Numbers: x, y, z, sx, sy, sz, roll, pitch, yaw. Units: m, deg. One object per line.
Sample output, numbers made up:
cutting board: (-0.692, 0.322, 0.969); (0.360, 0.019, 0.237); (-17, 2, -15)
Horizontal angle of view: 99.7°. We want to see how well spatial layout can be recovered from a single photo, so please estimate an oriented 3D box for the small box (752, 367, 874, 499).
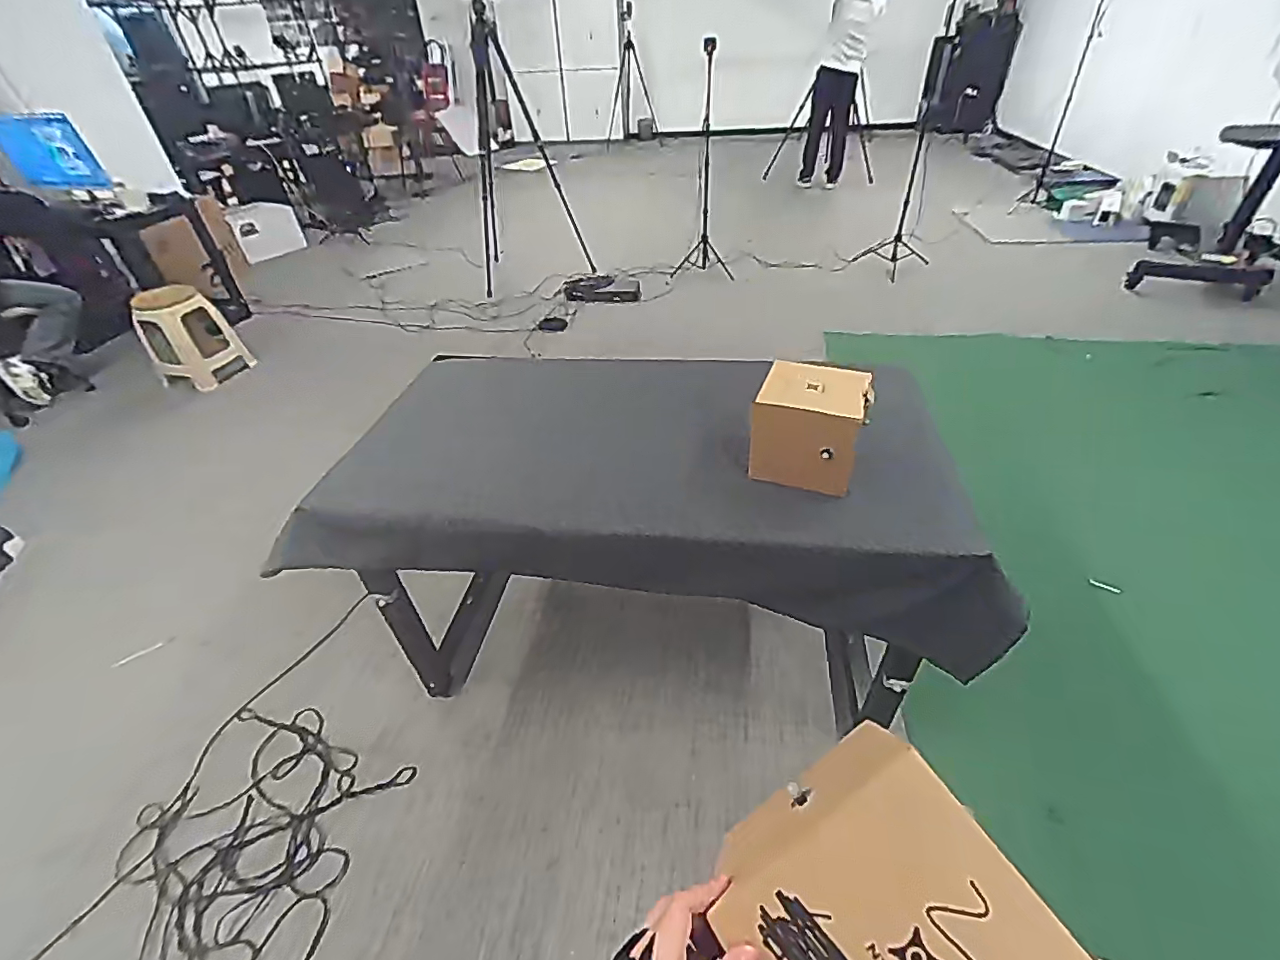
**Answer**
small box: (0.312, -0.086, 0.989); (0.179, 0.176, 0.168); (12, 40, 20)
